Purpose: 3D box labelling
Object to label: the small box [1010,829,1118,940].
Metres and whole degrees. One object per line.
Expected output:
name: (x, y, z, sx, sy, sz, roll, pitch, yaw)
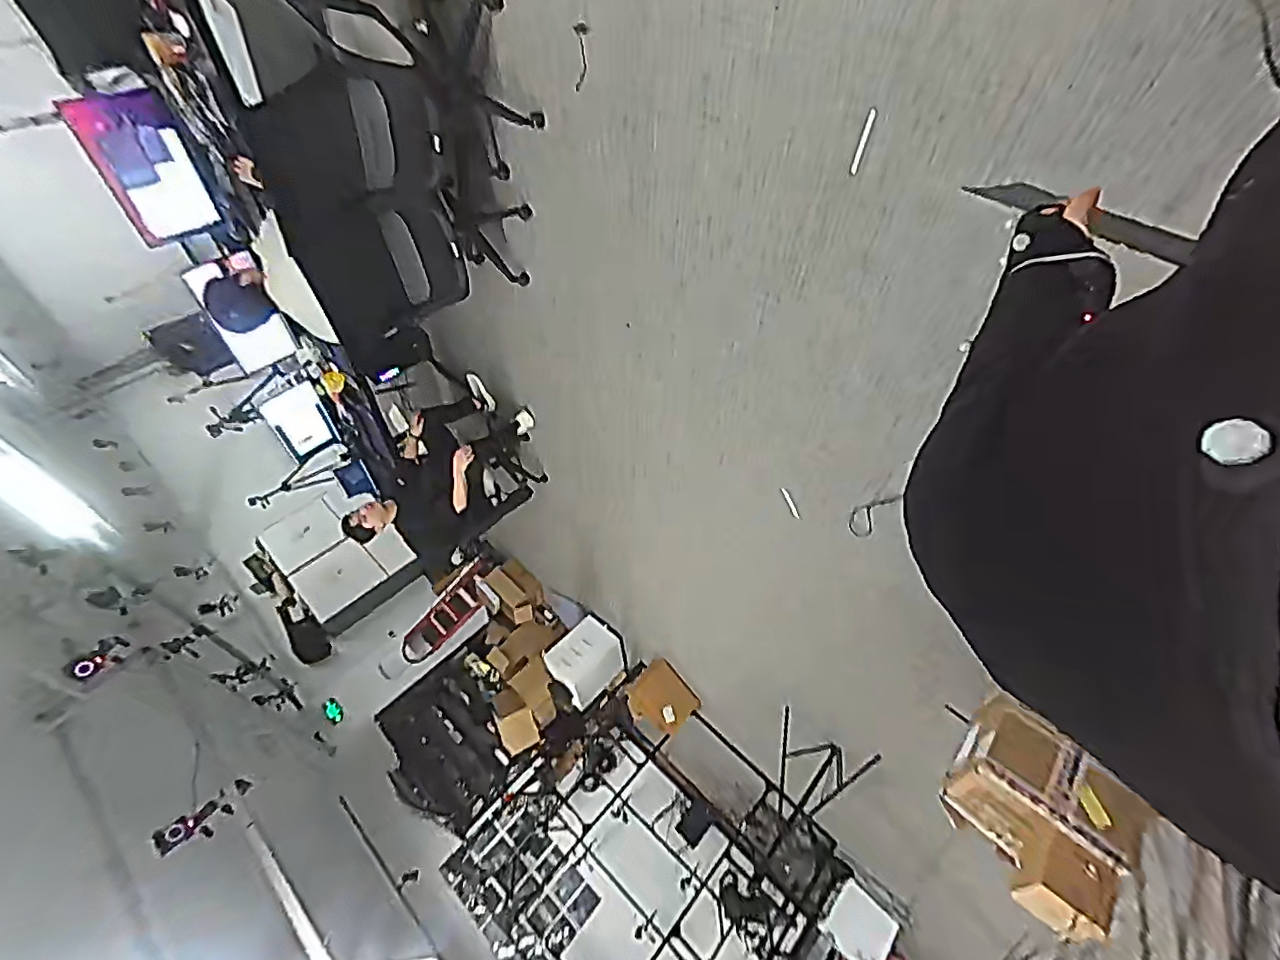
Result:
small box: (1.180, 1.120, 1.501, 0.168, 0.176, 0.179, 32, 141, 27)
